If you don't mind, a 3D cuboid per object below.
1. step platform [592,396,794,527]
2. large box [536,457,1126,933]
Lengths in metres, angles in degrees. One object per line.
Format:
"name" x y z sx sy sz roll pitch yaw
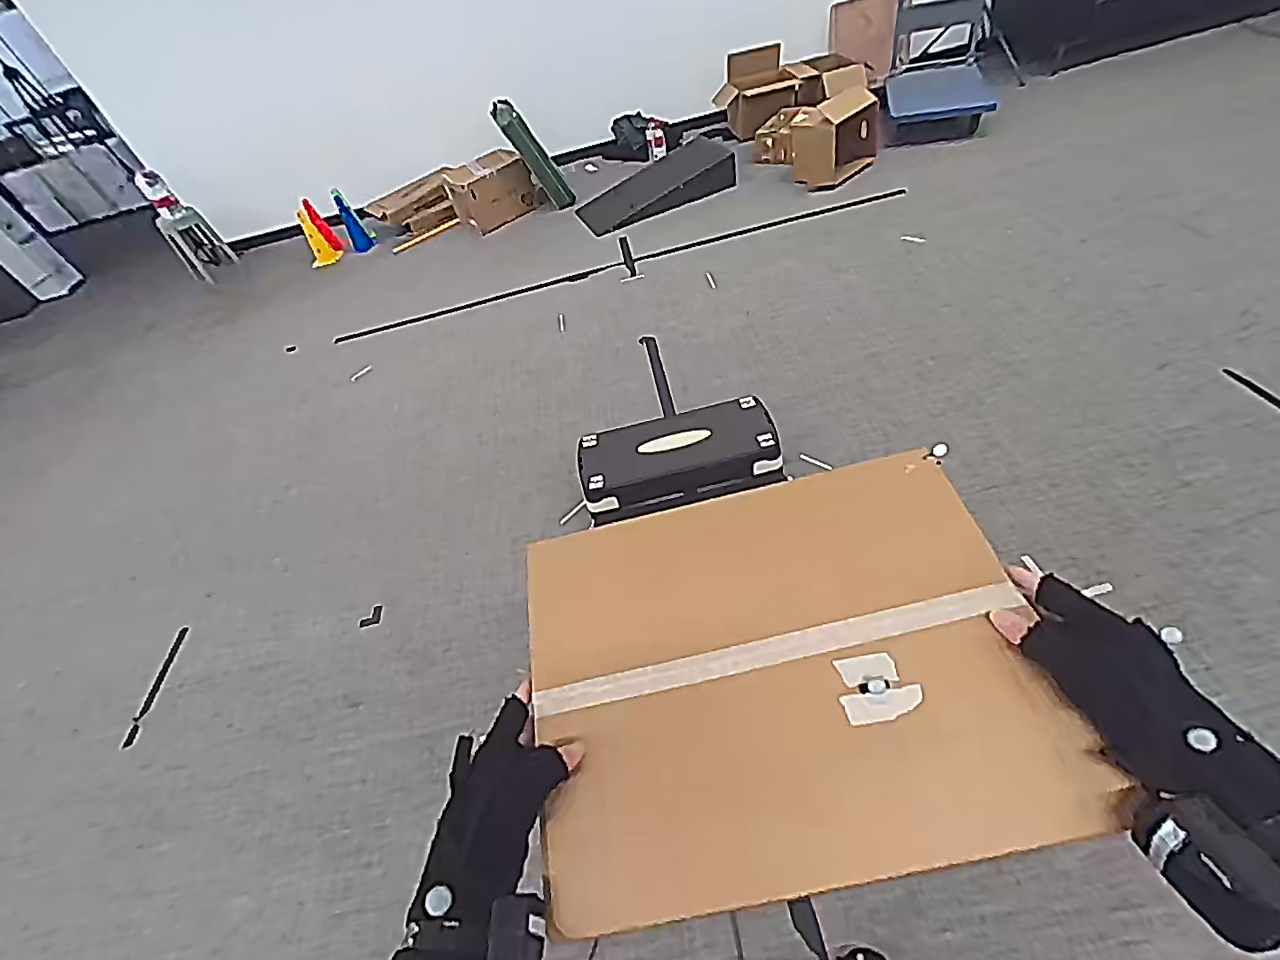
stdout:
"step platform" 0.175 -0.071 1.877 0.684 0.204 0.286 -14 47 1
"large box" 0.137 0.231 0.576 0.408 0.320 0.320 -14 54 3
